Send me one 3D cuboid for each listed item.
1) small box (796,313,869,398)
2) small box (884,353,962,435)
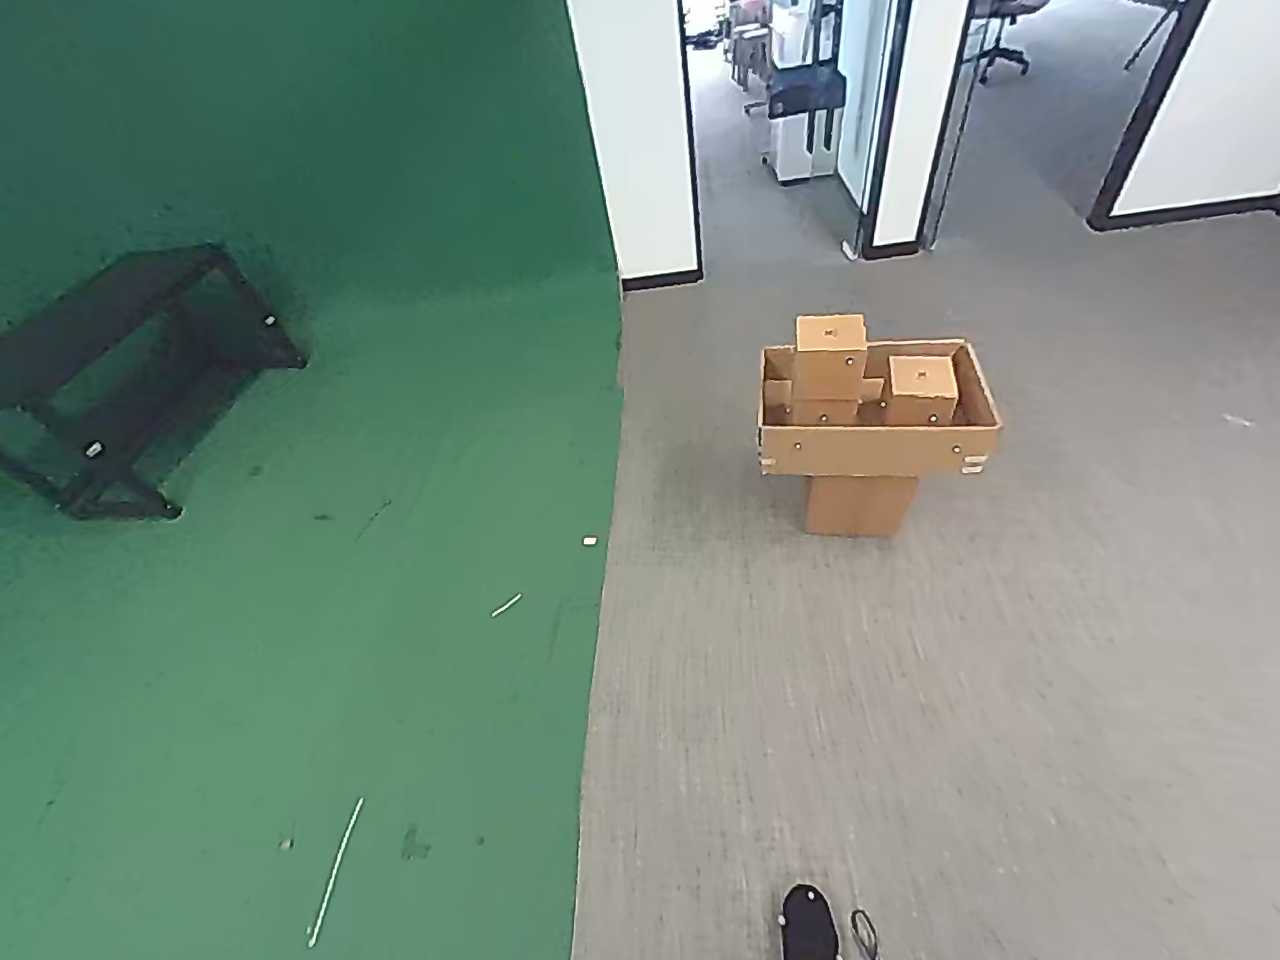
[{"bbox_3d":[0.525,-0.341,1.495,0.179,0.176,0.168,2,50,14],"label":"small box"},{"bbox_3d":[0.811,-0.247,1.563,0.168,0.176,0.179,5,51,16],"label":"small box"}]
